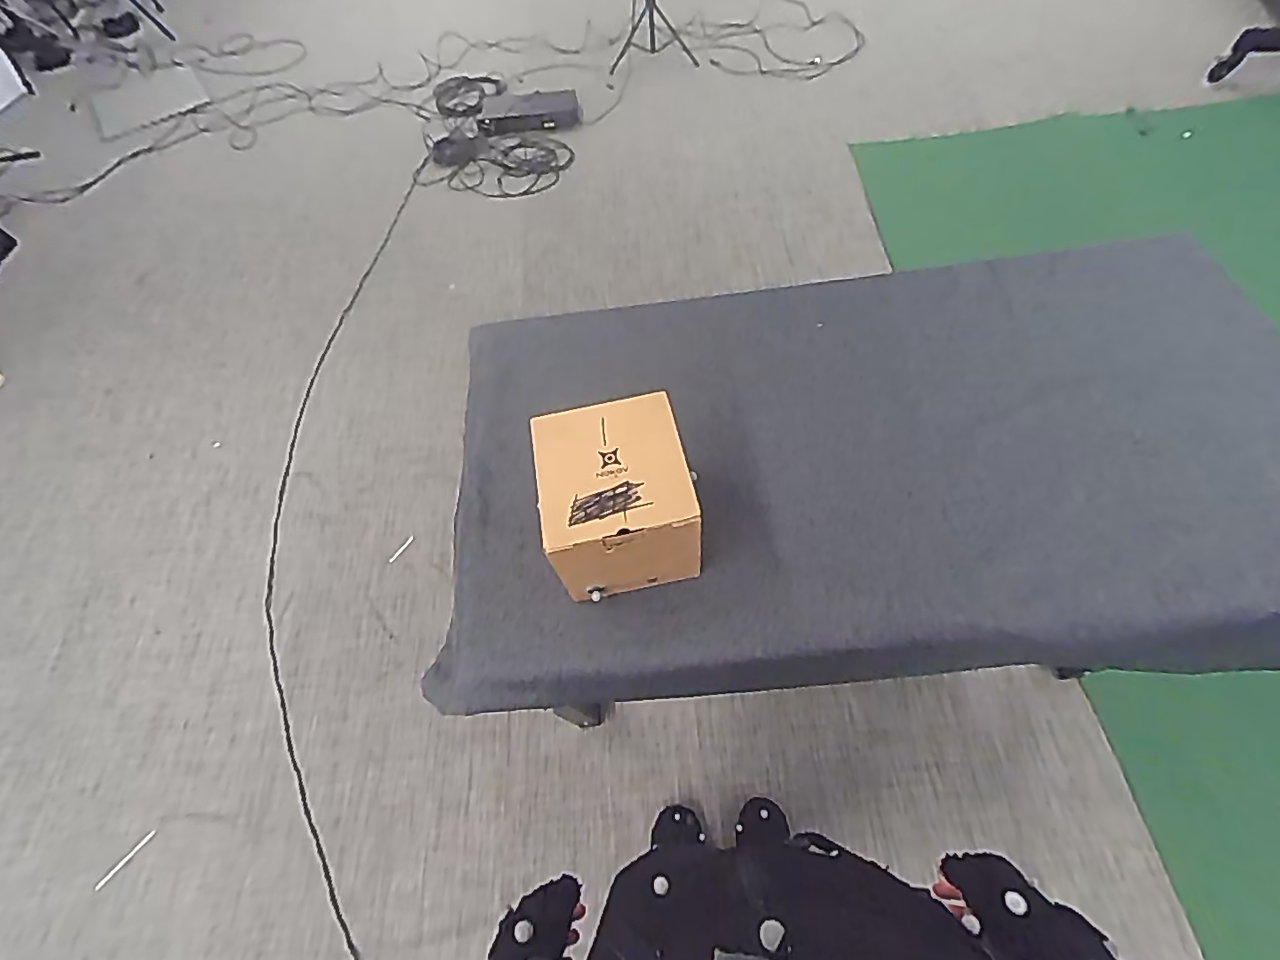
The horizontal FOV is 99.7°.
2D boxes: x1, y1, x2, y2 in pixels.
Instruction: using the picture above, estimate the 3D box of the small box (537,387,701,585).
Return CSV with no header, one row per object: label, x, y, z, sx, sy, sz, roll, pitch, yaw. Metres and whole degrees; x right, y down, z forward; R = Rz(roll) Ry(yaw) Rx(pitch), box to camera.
small box,-0.021,0.018,0.668,0.168,0.176,0.179,-12,59,-1
